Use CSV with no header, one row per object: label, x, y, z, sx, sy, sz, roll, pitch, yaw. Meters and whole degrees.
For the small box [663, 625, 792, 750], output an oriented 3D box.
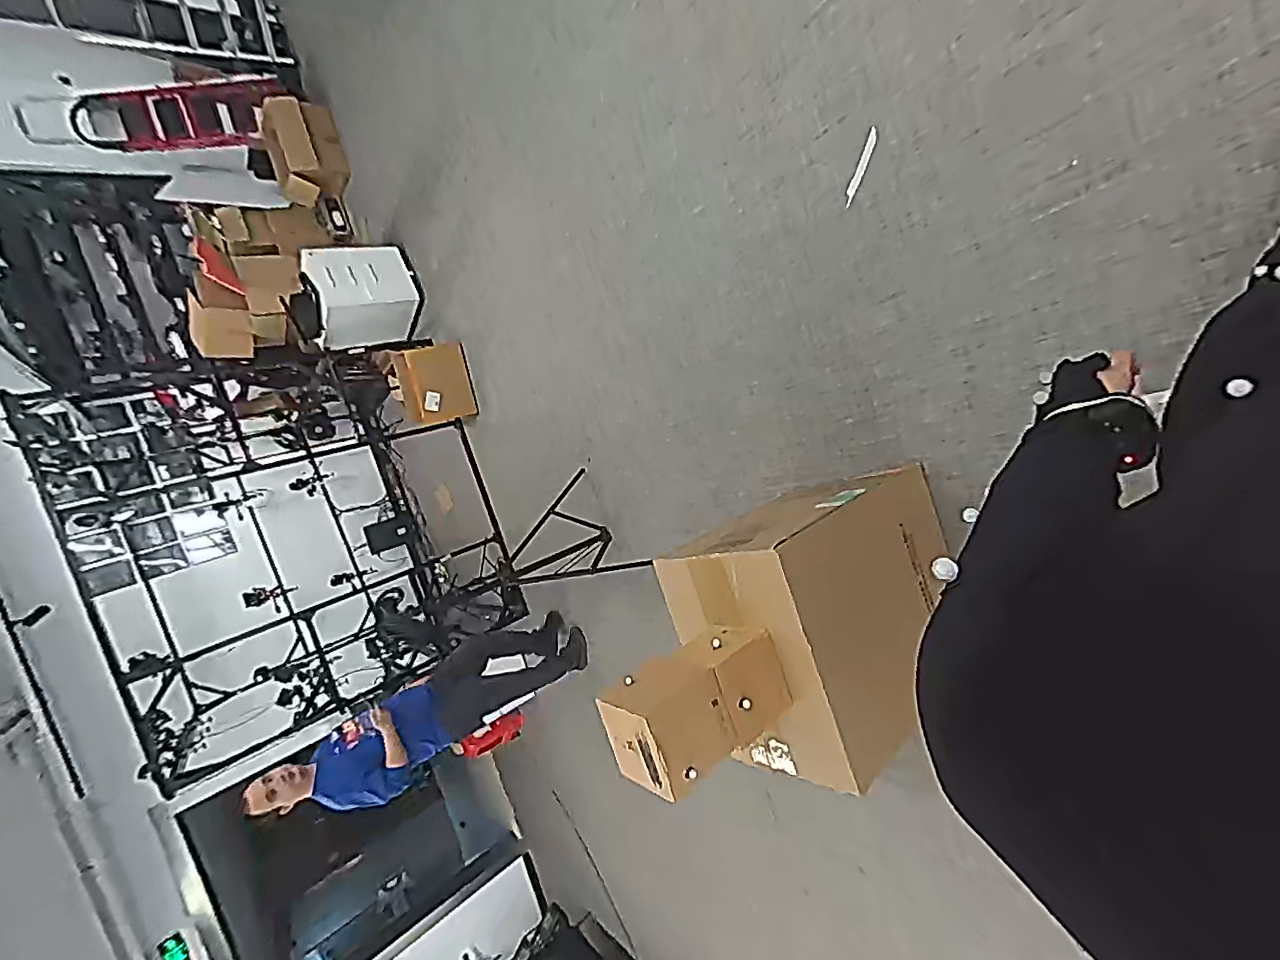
small box,0.183,0.417,1.124,0.168,0.176,0.179,-16,95,53
